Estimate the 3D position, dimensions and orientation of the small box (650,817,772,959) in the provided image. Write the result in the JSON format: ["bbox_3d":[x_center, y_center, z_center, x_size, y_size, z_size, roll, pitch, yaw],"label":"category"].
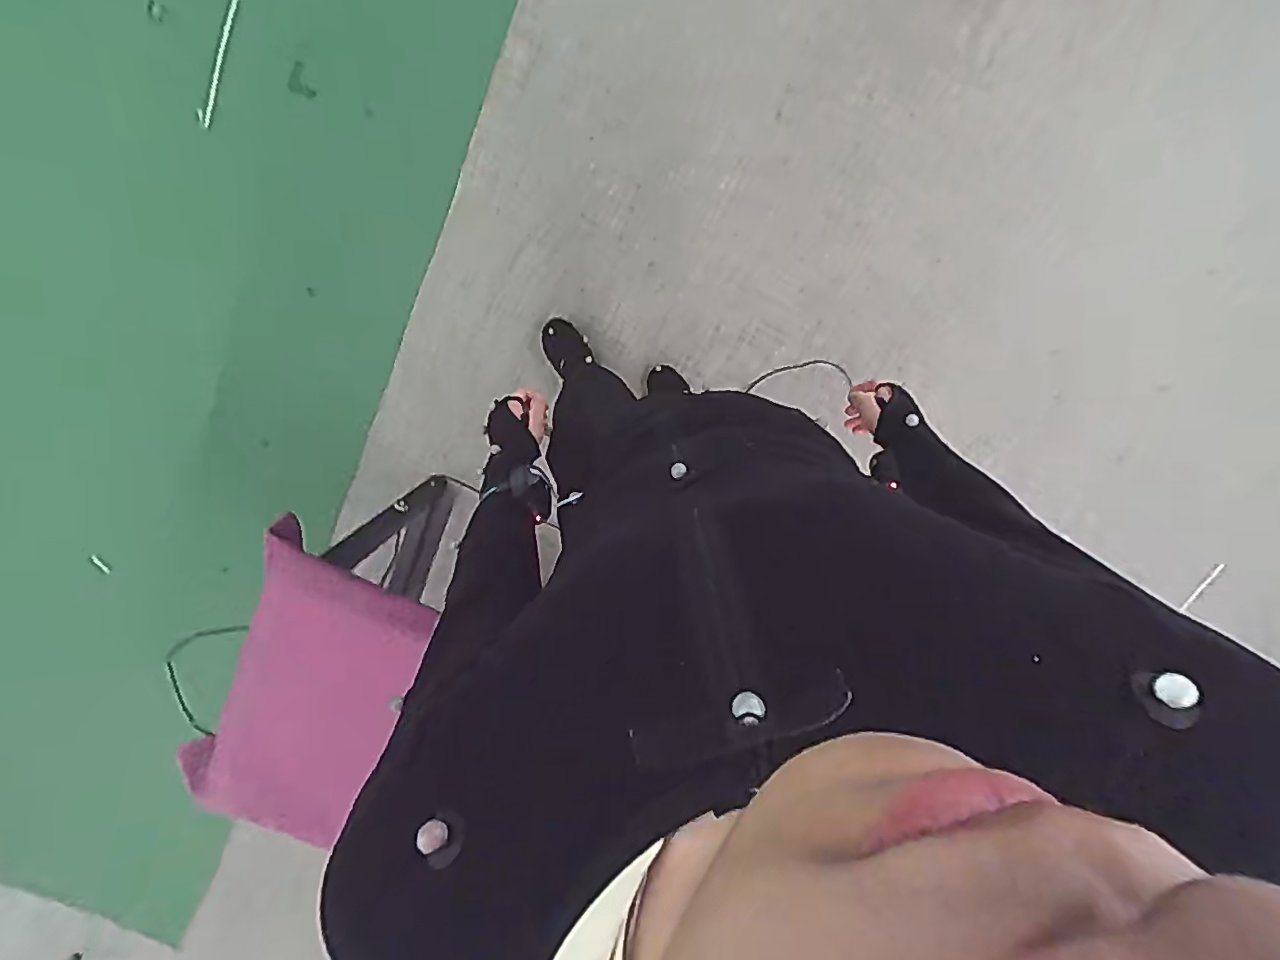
[{"bbox_3d":[0.131,0.804,1.041,0.168,0.176,0.179,23,106,-4],"label":"small box"}]
